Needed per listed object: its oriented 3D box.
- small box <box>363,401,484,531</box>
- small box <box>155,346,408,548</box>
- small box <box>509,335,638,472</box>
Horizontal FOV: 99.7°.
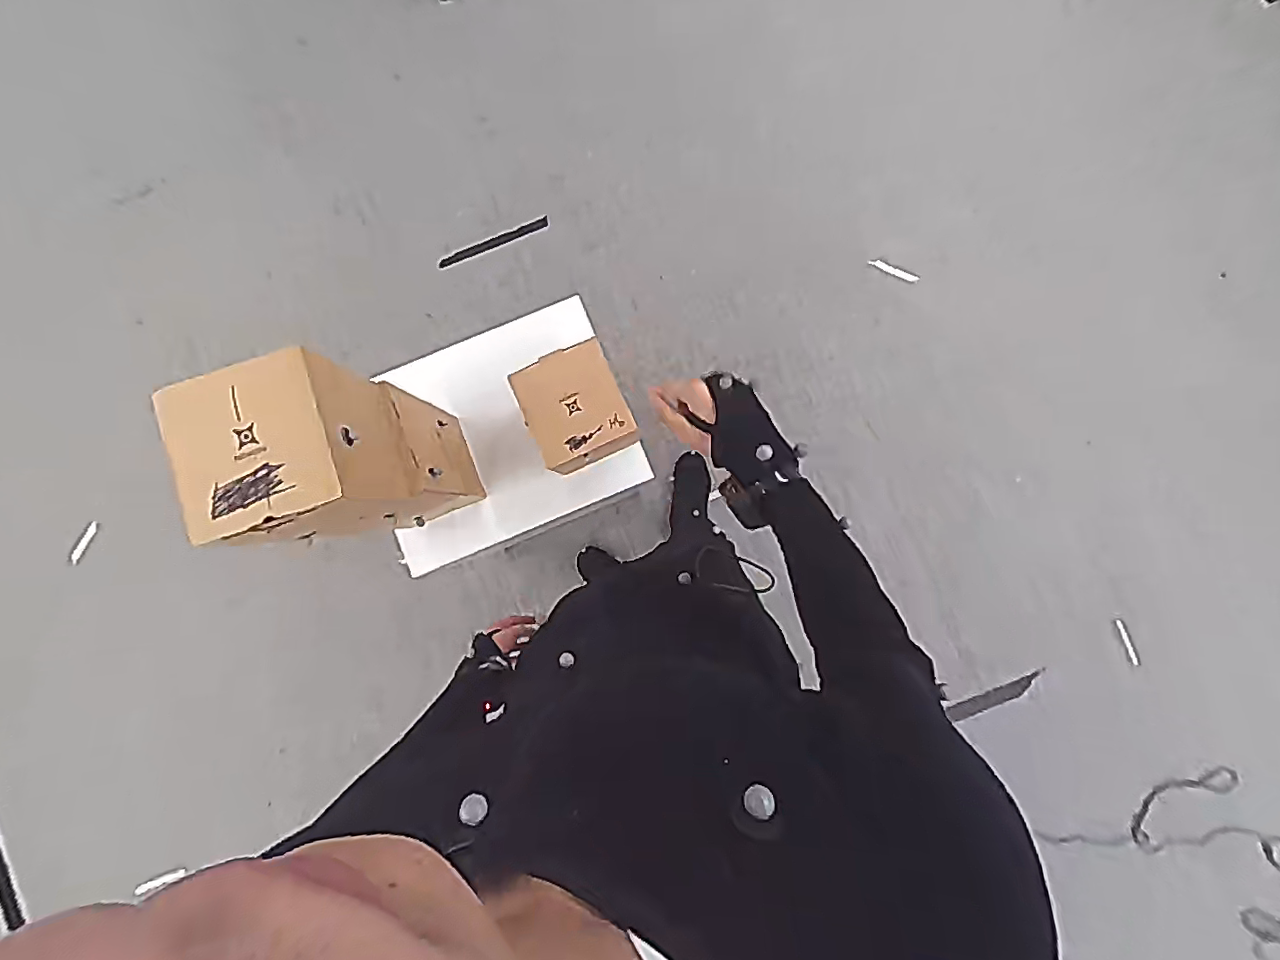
[{"bbox_3d":[-0.401,-0.021,0.971,0.168,0.176,0.179,-22,87,-2],"label":"small box"},{"bbox_3d":[-0.404,-0.031,0.642,0.168,0.176,0.179,-19,86,-1],"label":"small box"},{"bbox_3d":[-0.112,-0.127,0.976,0.168,0.176,0.179,-25,87,0],"label":"small box"}]
